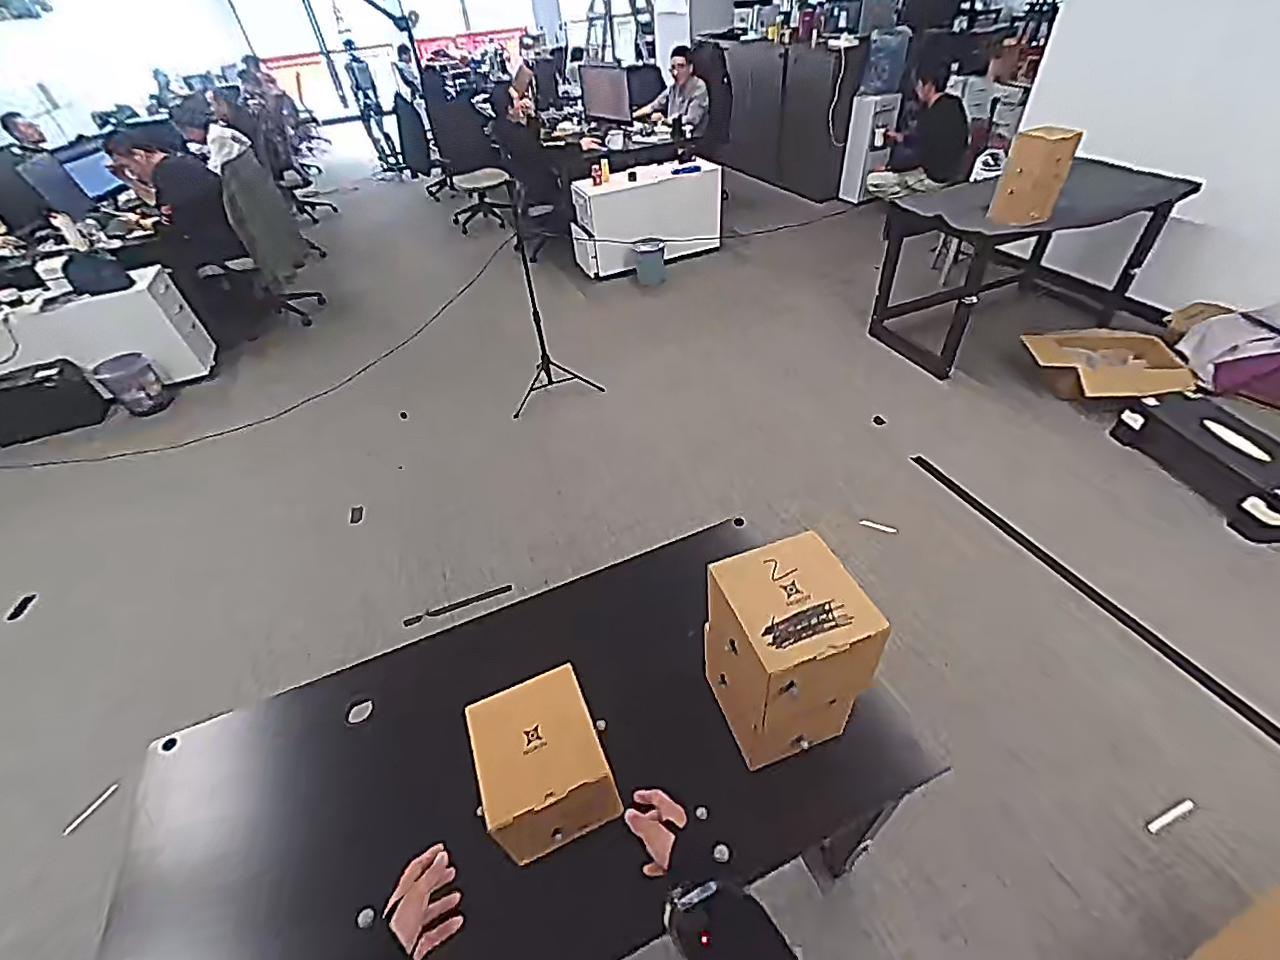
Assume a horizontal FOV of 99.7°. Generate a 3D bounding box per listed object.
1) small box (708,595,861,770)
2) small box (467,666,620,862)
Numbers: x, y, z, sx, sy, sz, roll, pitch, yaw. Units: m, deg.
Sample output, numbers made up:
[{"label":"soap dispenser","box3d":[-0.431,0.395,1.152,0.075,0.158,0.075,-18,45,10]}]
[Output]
[{"label":"small box","box3d":[0.214,0.318,0.856,0.168,0.176,0.179,-17,43,-9]},{"label":"small box","box3d":[-0.140,0.416,0.797,0.168,0.176,0.179,-20,45,-14]}]
